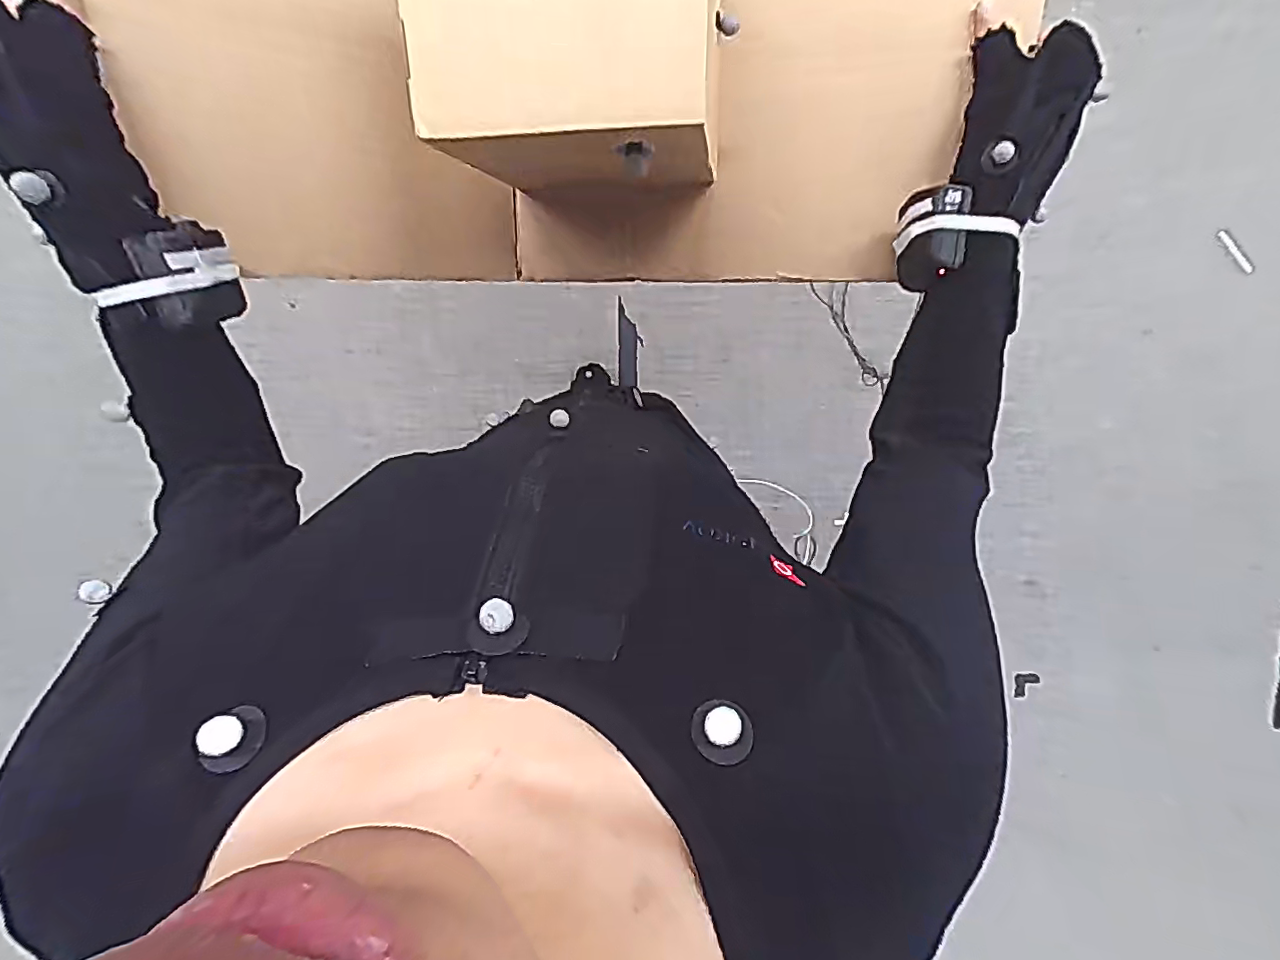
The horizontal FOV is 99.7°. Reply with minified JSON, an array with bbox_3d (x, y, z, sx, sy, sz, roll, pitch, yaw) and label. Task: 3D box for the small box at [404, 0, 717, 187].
[{"bbox_3d":[-0.038,-0.308,0.370,0.179,0.176,0.168,3,109,9],"label":"small box"}]
